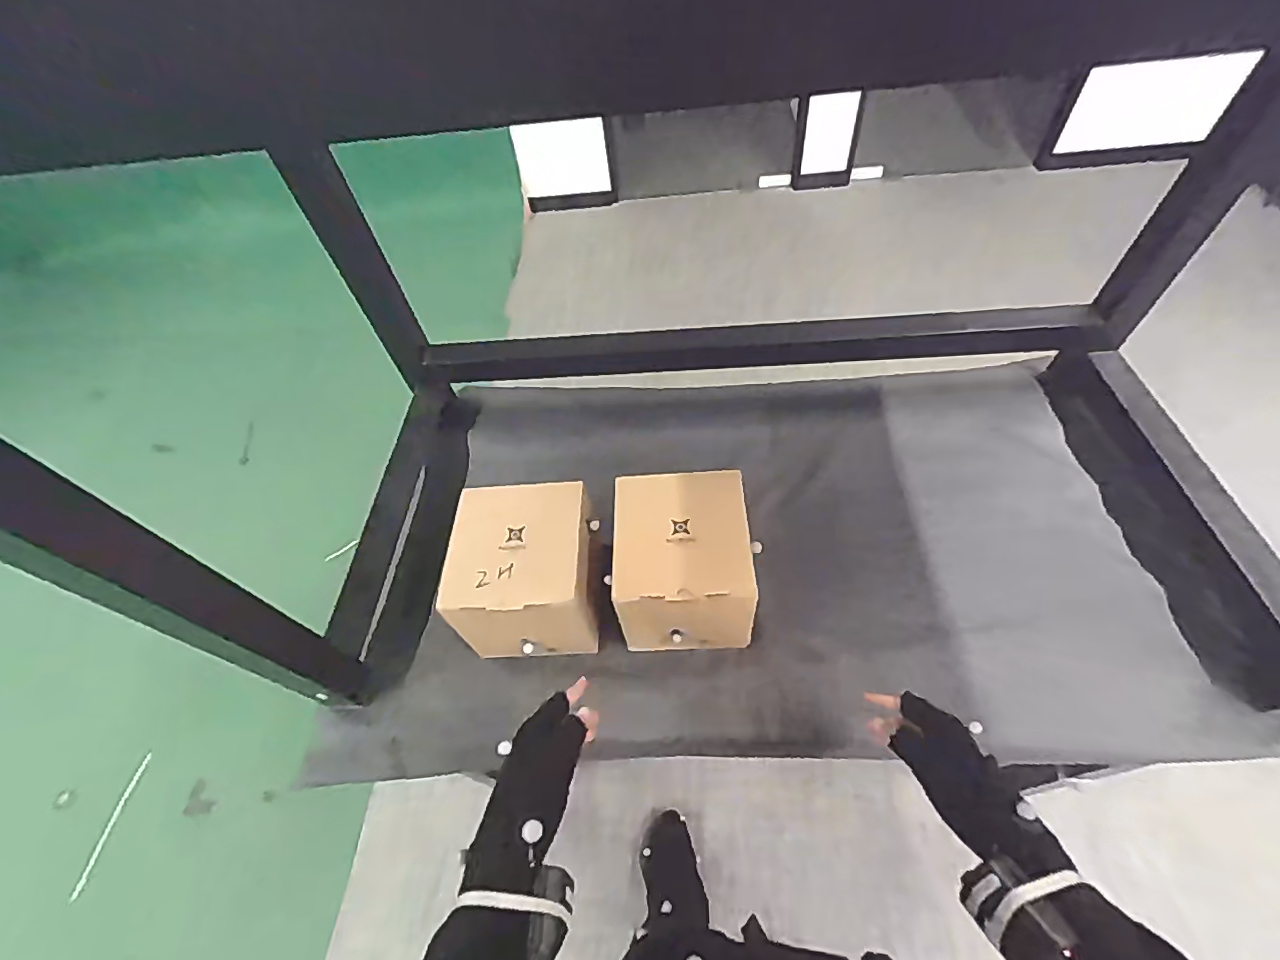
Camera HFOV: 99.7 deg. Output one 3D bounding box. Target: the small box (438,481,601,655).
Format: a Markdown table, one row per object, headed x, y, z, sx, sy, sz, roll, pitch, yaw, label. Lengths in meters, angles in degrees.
| x | y | z | sx | sy | sz | roll | pitch | yaw | label |
| --- | --- | --- | --- | --- | --- | --- | --- | --- | --- |
| -0.148 | 0.122 | 0.736 | 0.168 | 0.176 | 0.179 | -4 | 53 | 4 | small box |

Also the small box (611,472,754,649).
| x | y | z | sx | sy | sz | roll | pitch | yaw | label |
| --- | --- | --- | --- | --- | --- | --- | --- | --- | --- |
| 0.055 | 0.110 | 0.725 | 0.168 | 0.176 | 0.179 | -4 | 53 | 5 | small box |
